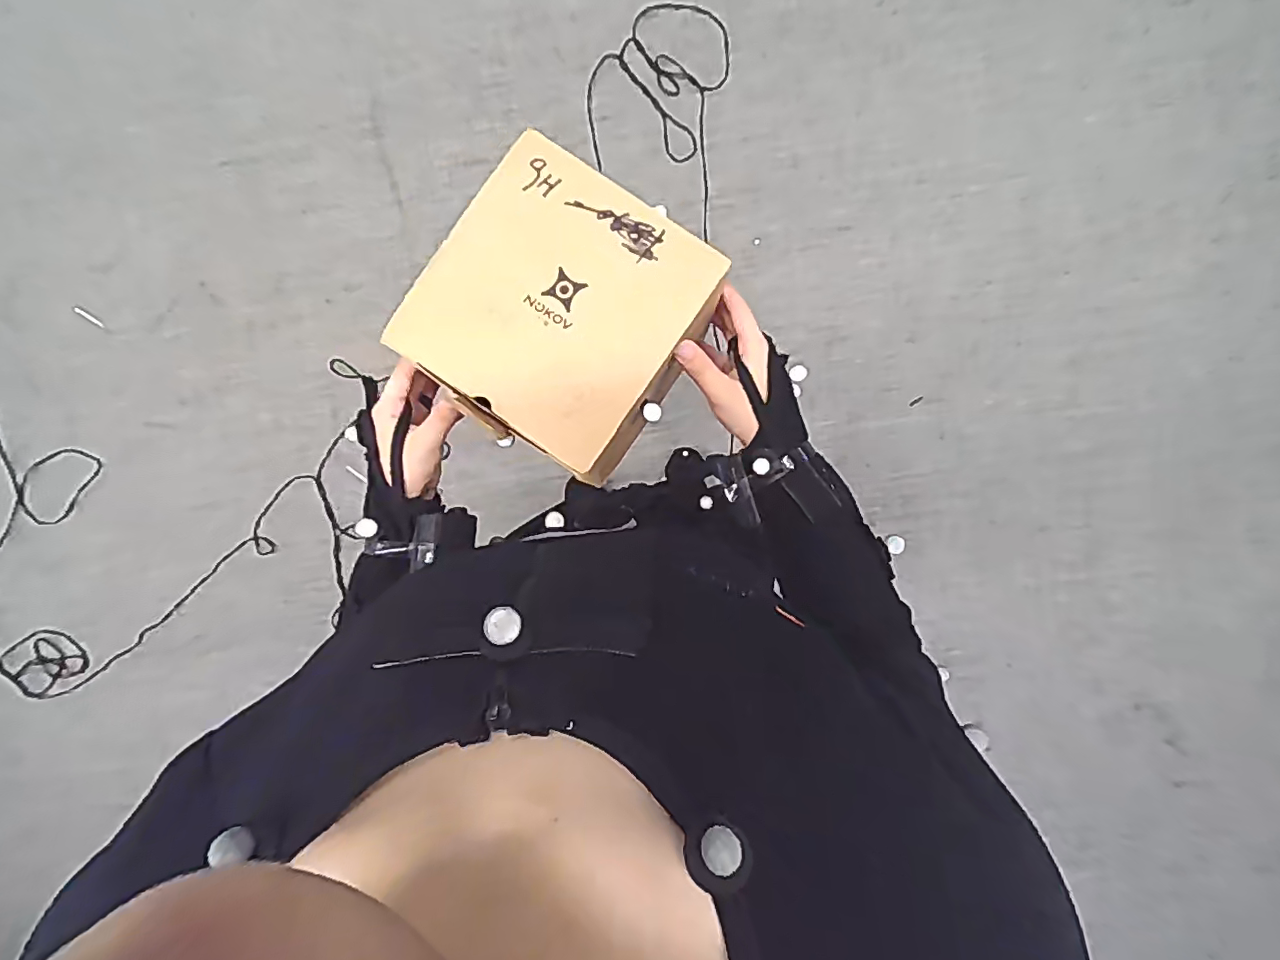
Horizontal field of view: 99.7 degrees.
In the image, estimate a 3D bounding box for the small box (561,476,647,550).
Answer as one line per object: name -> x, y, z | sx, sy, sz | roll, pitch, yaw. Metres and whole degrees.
small box -> -0.088, 0.078, 1.331 | 0.179, 0.176, 0.168 | 4, 89, 13
